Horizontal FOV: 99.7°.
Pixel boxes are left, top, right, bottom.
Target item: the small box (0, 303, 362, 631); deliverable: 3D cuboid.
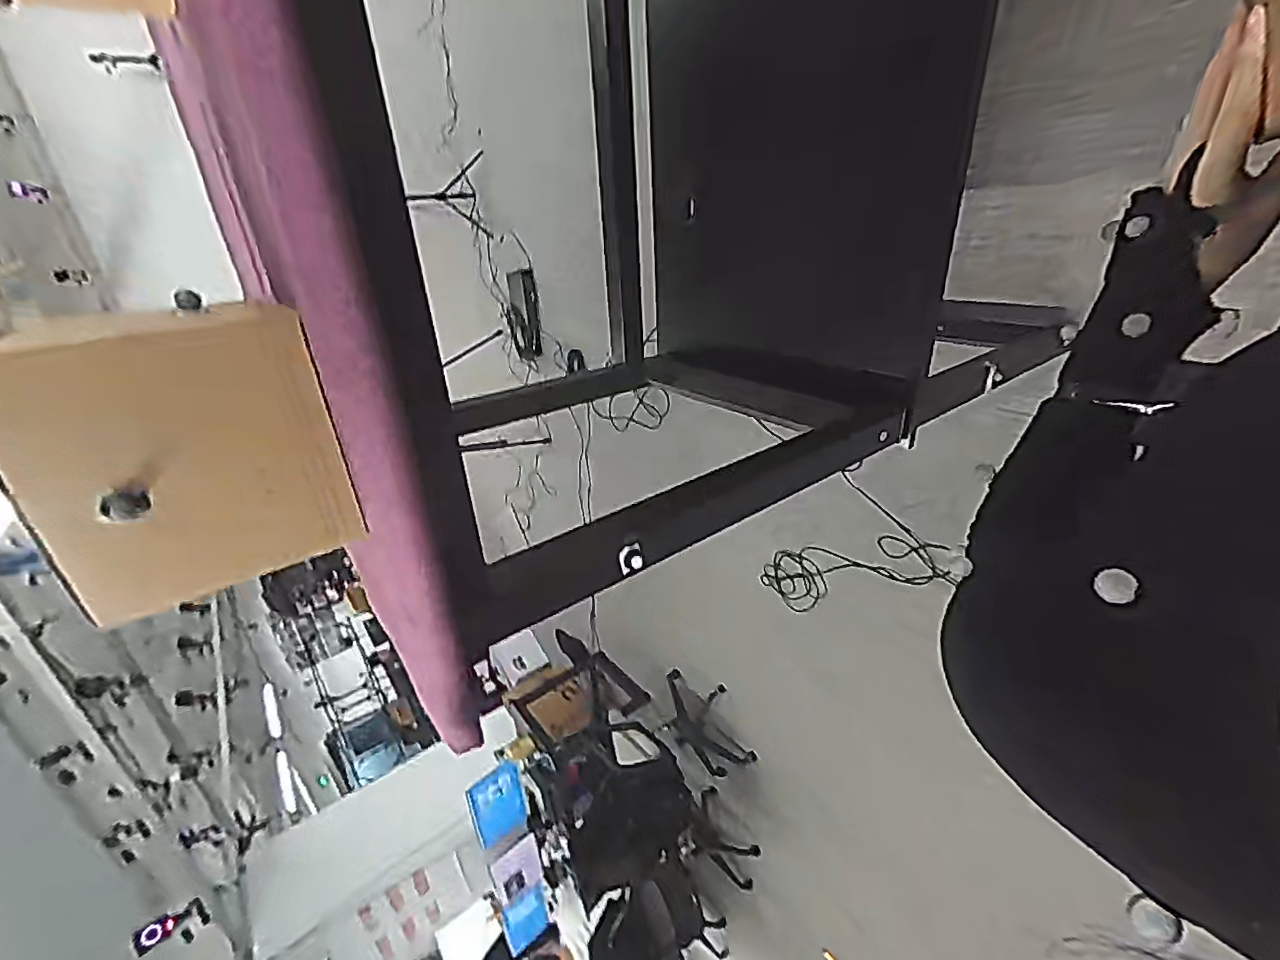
[{"bbox_3d":[-0.333,-0.028,0.410,0.168,0.176,0.179,26,128,46],"label":"small box"}]
